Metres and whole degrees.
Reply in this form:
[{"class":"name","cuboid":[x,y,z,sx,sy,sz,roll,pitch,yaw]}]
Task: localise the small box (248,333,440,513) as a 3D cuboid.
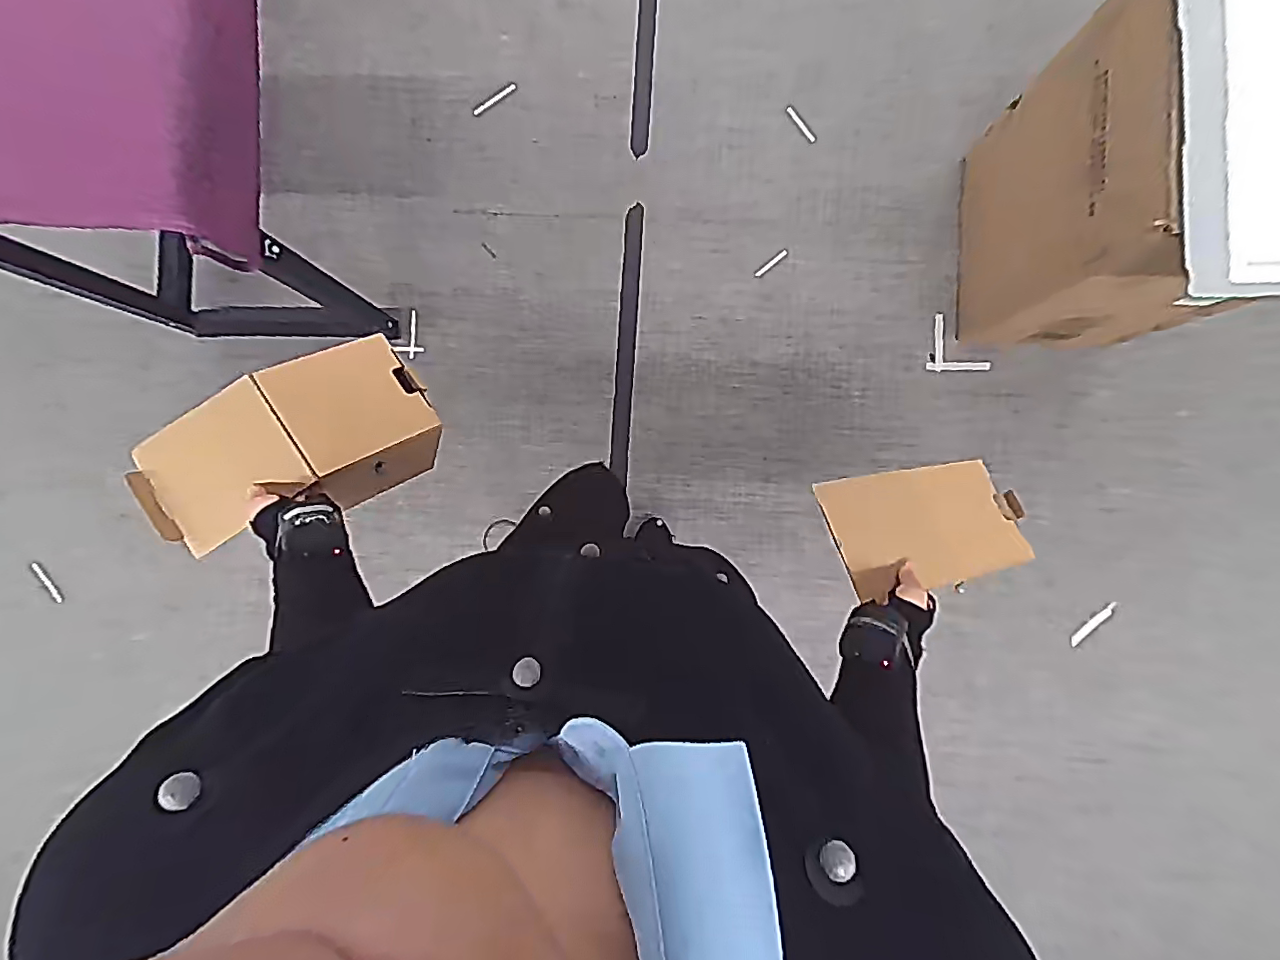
[{"class":"small box","cuboid":[-0.413,-0.075,0.778,0.179,0.176,0.168,-32,85,-33]}]
